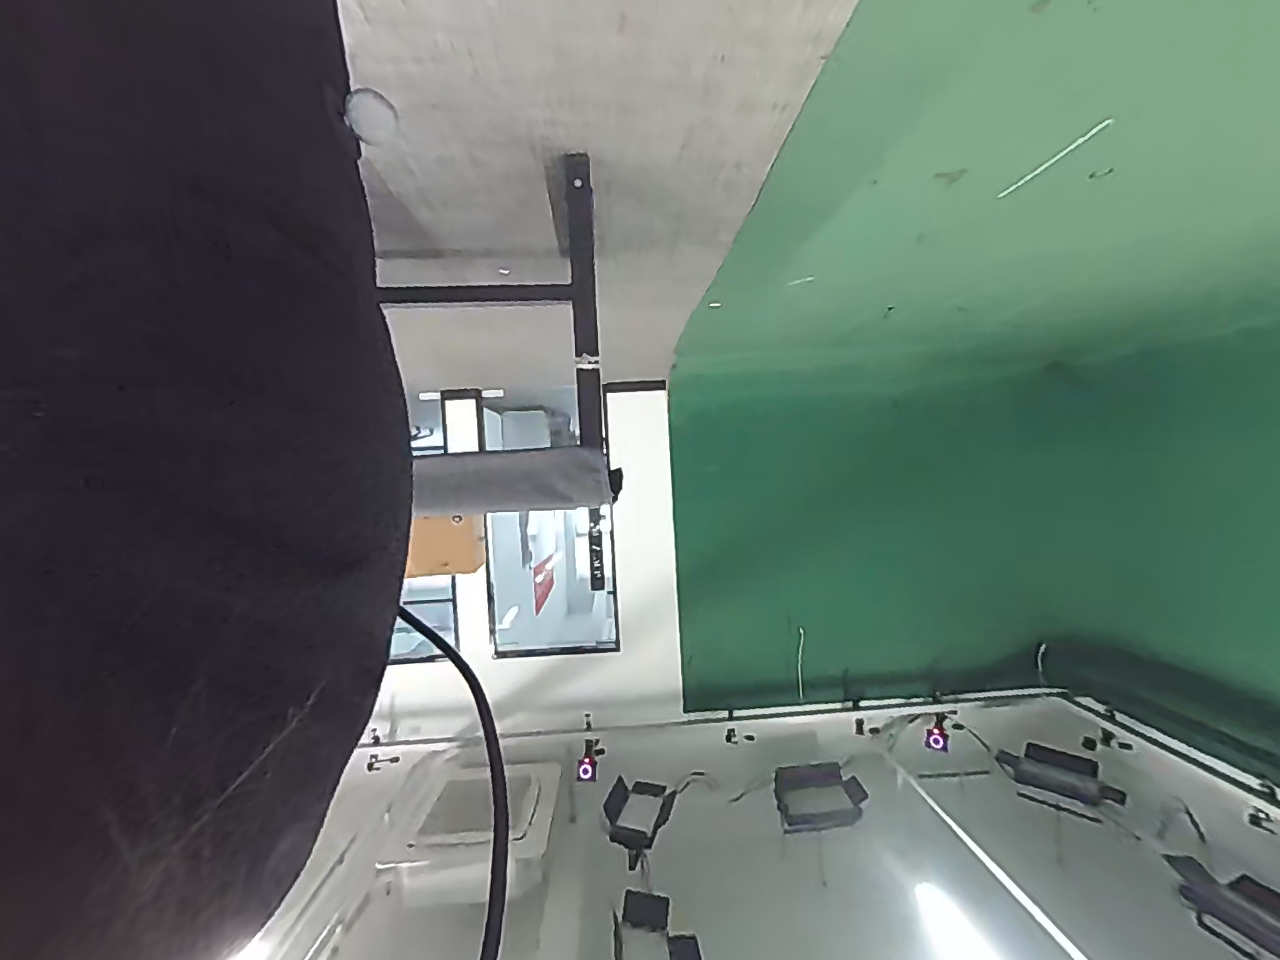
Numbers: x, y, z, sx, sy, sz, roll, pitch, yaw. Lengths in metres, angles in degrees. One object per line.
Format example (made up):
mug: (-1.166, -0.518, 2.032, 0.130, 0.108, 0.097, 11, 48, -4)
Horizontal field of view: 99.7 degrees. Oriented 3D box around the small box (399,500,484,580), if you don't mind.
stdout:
small box: (-0.493, 0.143, 1.358, 0.168, 0.176, 0.179, -3, -178, -7)
